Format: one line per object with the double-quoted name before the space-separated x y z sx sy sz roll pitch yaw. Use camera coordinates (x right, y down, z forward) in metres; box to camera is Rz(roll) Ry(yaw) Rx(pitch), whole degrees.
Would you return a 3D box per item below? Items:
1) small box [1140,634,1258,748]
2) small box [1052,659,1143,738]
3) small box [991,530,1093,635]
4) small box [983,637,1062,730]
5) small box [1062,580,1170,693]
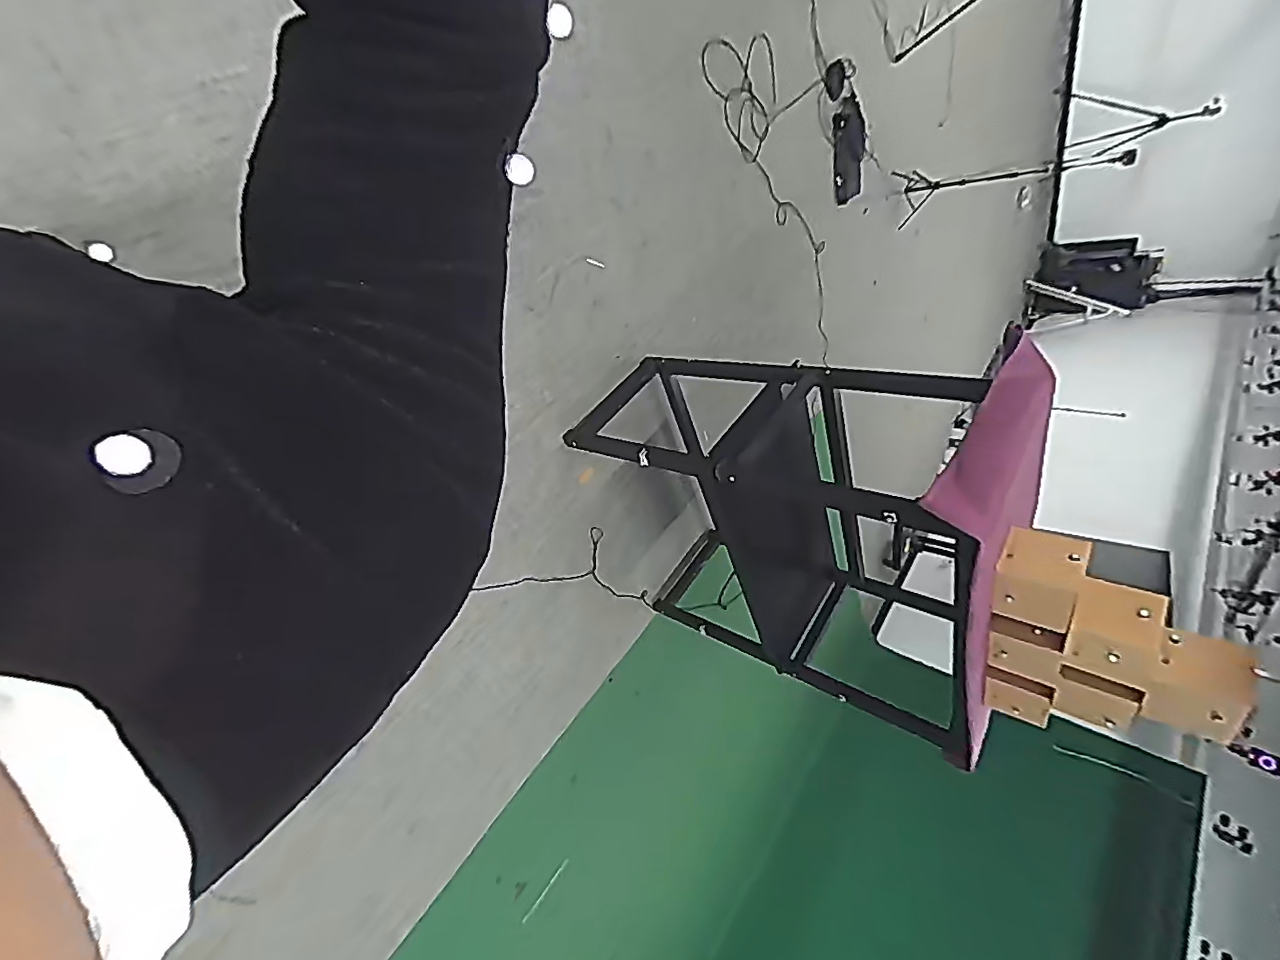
"small box" 1.323 0.493 1.290 0.168 0.176 0.179 -48 132 -28
"small box" 1.245 0.553 1.470 0.168 0.176 0.179 -47 132 -29
"small box" 1.004 0.251 1.363 0.168 0.176 0.179 -47 133 -28
"small box" 1.174 0.620 1.663 0.179 0.176 0.168 -45 131 -31
"small box" 1.165 0.379 1.332 0.179 0.176 0.168 -46 131 -29
